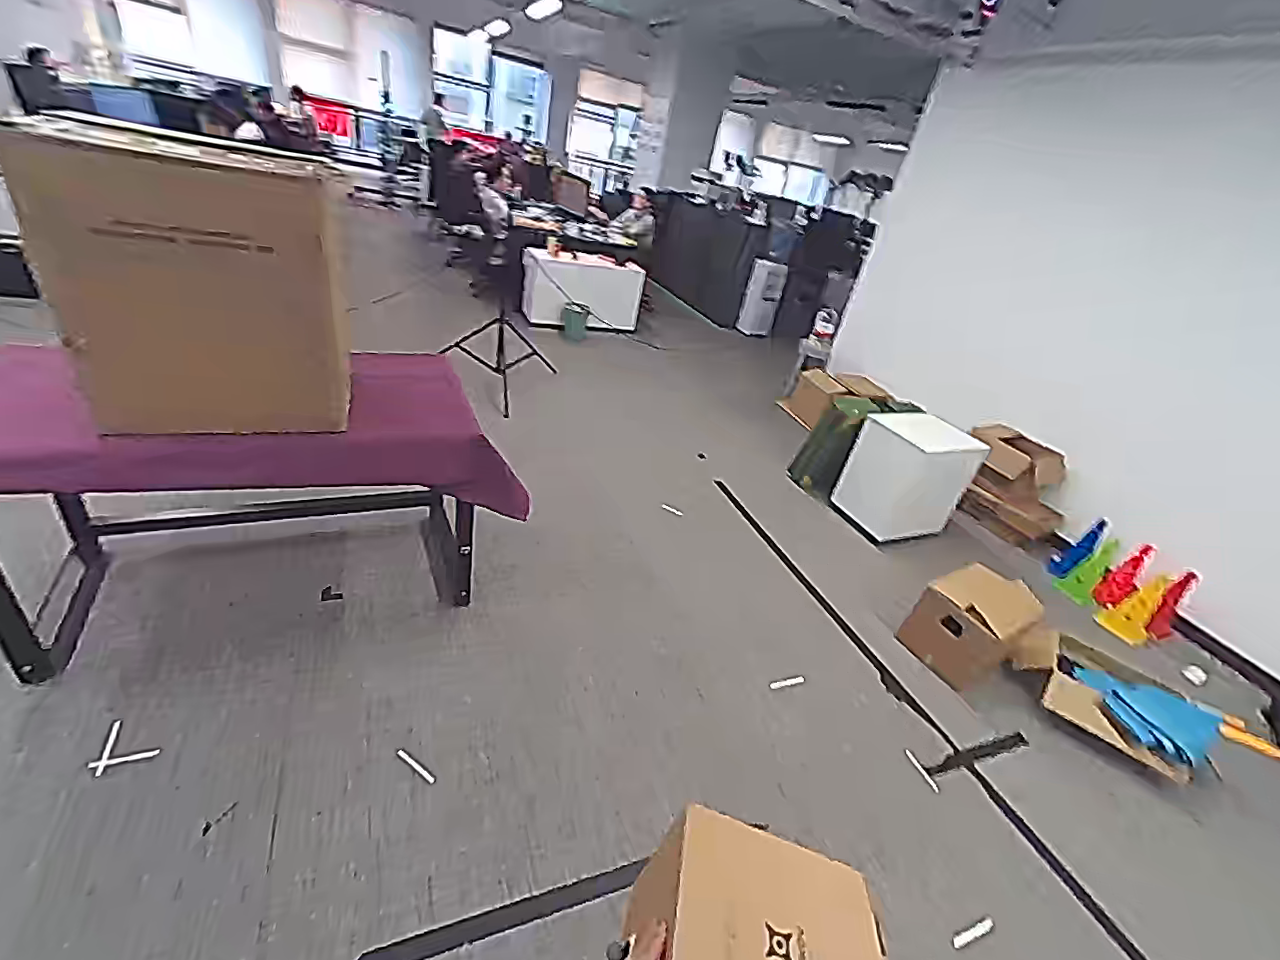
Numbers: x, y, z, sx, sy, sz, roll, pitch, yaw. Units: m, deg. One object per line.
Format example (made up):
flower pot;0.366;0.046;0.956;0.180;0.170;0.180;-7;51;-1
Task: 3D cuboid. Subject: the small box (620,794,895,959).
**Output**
small box;0.085;0.403;0.433;0.179;0.176;0.168;20;25;0
